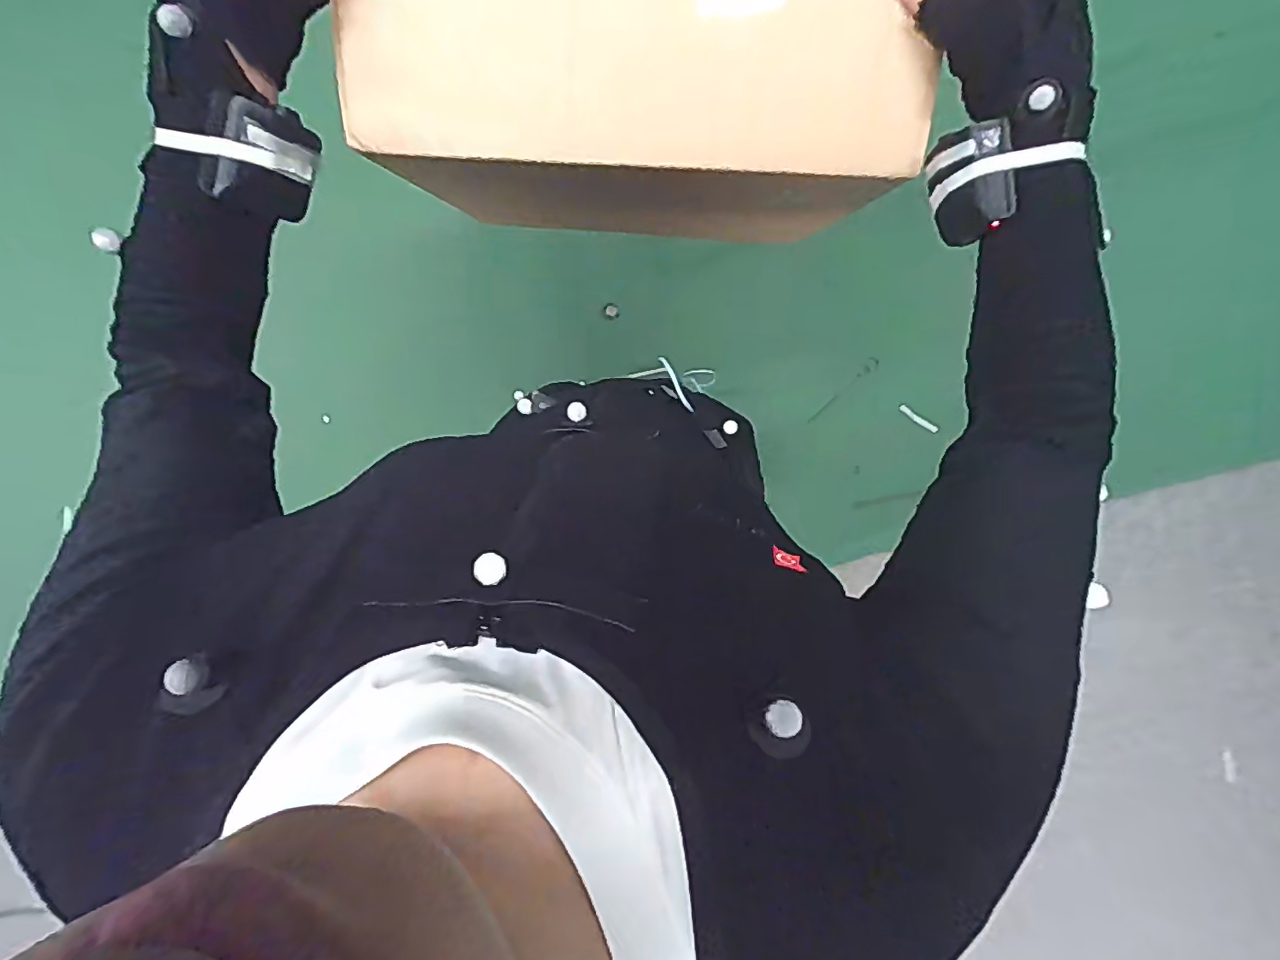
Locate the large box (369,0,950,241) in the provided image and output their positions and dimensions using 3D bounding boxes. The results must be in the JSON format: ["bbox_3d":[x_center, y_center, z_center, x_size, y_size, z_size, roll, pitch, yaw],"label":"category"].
[{"bbox_3d":[0.015,-0.415,0.497,0.408,0.320,0.320,3,106,-1],"label":"large box"}]
